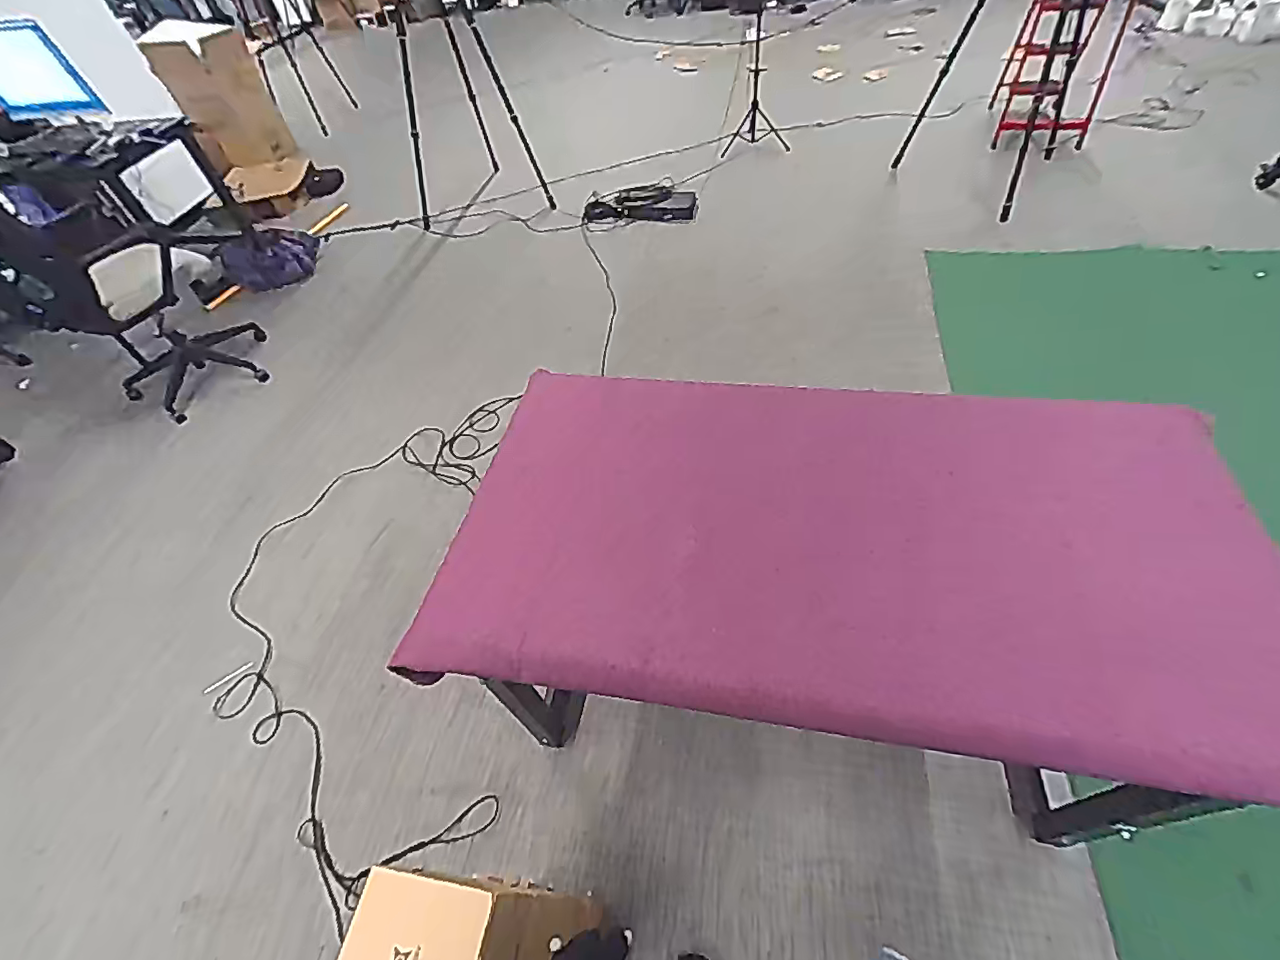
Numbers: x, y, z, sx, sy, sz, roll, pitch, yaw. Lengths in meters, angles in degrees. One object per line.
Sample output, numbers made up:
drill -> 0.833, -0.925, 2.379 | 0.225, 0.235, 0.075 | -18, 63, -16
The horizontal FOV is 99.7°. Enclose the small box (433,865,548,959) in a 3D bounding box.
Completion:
small box -> -0.250, 0.713, 0.827 | 0.168, 0.176, 0.179 | 5, 54, 11

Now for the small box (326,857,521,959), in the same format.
small box -> -0.278, 0.610, 0.701 | 0.179, 0.176, 0.168 | 5, 54, 11
